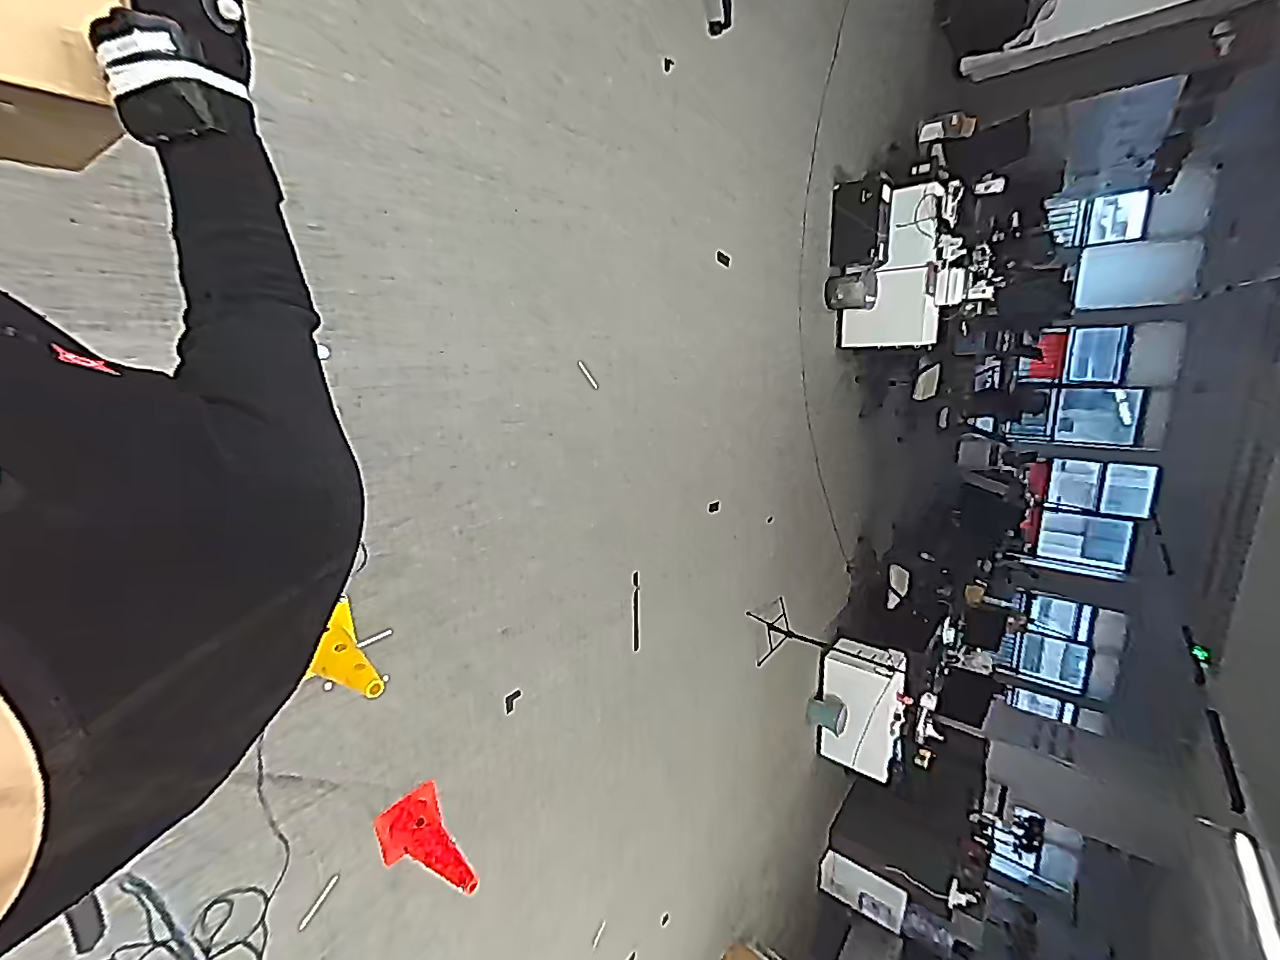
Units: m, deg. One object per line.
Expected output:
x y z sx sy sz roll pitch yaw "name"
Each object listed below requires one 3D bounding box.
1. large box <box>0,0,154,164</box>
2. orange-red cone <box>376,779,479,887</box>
-0.582 -0.398 0.279 0.408 0.320 0.320 -18 117 -50 "large box"
-0.608 1.114 1.634 0.198 0.360 0.199 -22 113 -48 "orange-red cone"
